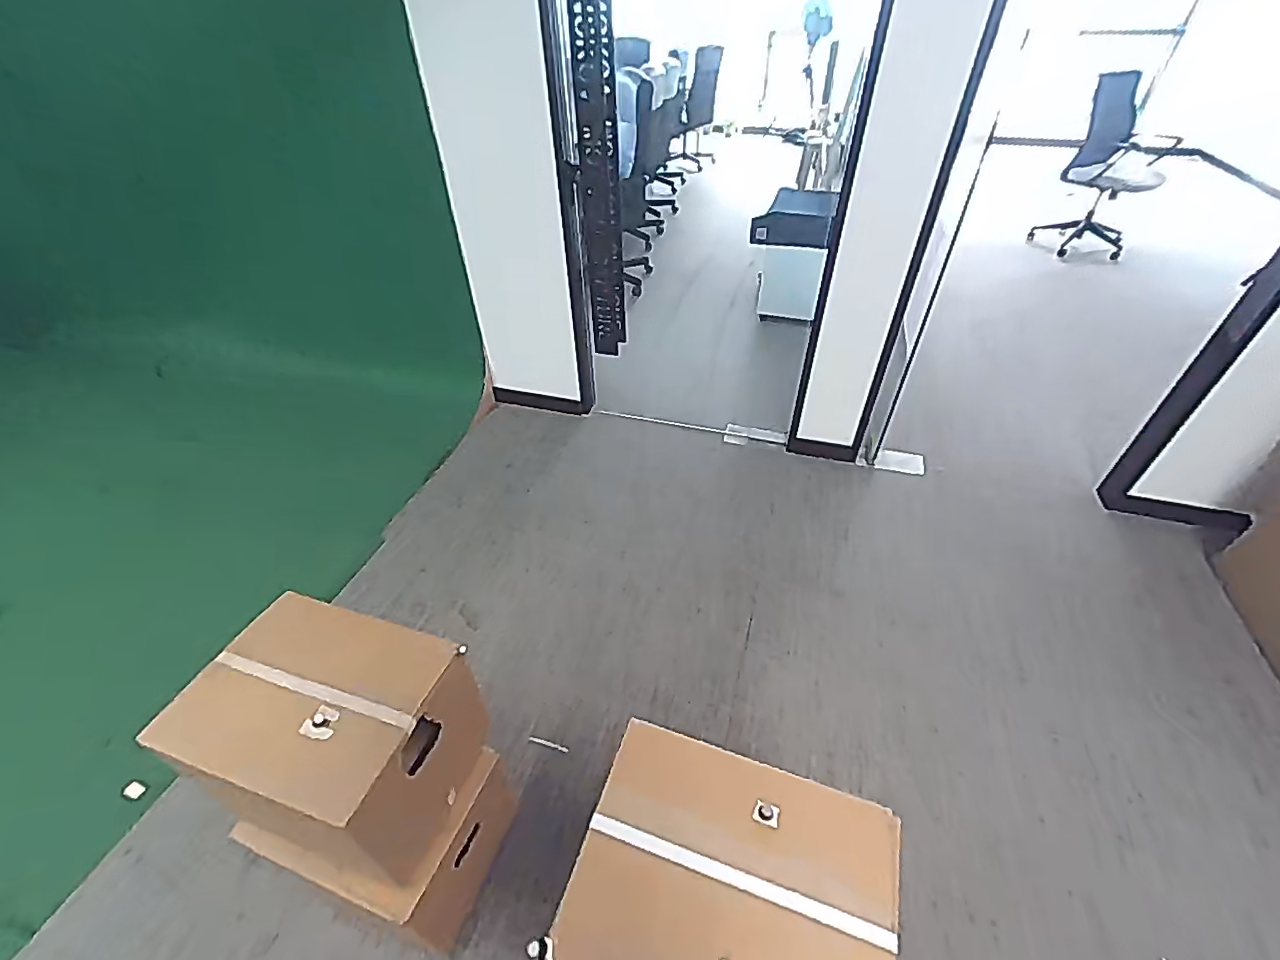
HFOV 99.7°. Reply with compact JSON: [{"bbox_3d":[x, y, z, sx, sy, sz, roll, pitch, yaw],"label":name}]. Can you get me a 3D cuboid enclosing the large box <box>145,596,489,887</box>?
[{"bbox_3d":[-0.554,0.474,1.012,0.408,0.320,0.320,13,41,13],"label":"large box"}]
